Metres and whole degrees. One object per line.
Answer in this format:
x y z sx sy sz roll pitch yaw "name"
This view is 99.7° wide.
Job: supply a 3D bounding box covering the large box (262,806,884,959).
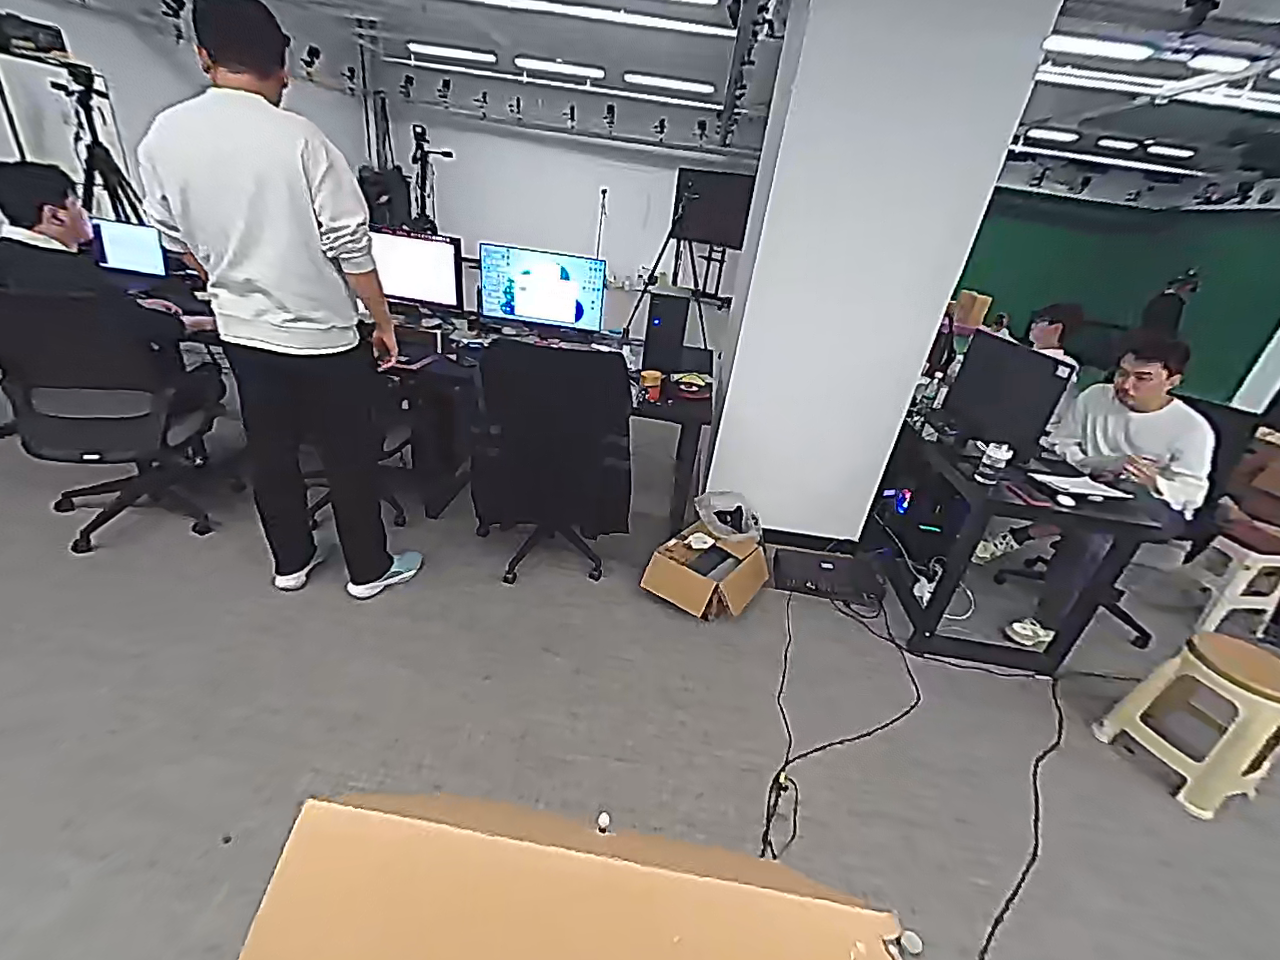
-0.061 0.466 0.428 0.408 0.320 0.320 9 62 3 "large box"
